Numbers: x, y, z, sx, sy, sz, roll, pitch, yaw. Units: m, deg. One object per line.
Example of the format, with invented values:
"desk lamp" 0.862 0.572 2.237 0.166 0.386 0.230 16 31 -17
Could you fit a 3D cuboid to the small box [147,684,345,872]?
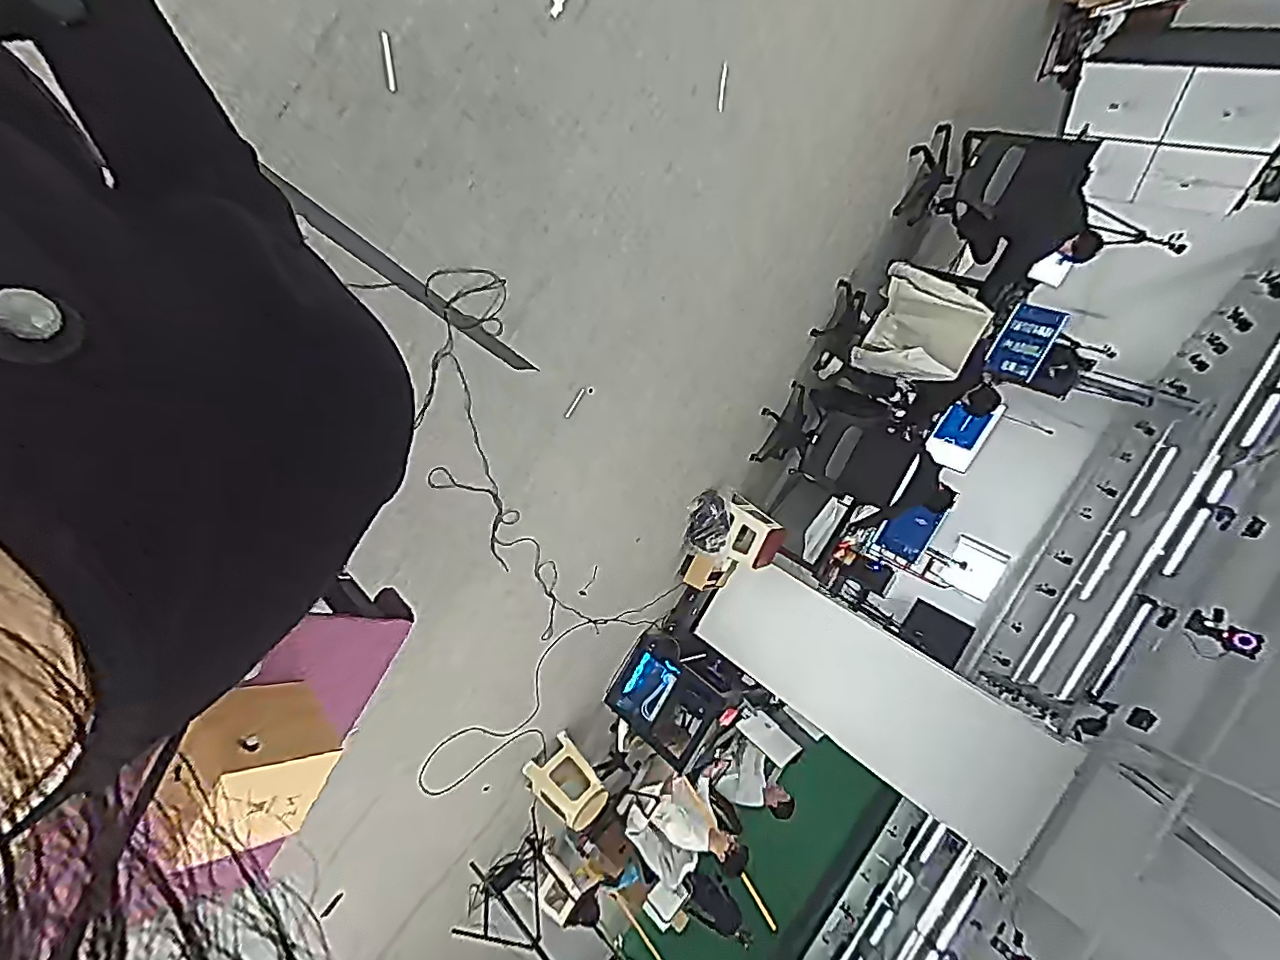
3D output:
"small box" -0.607 0.440 0.834 0.168 0.176 0.179 -59 149 4
